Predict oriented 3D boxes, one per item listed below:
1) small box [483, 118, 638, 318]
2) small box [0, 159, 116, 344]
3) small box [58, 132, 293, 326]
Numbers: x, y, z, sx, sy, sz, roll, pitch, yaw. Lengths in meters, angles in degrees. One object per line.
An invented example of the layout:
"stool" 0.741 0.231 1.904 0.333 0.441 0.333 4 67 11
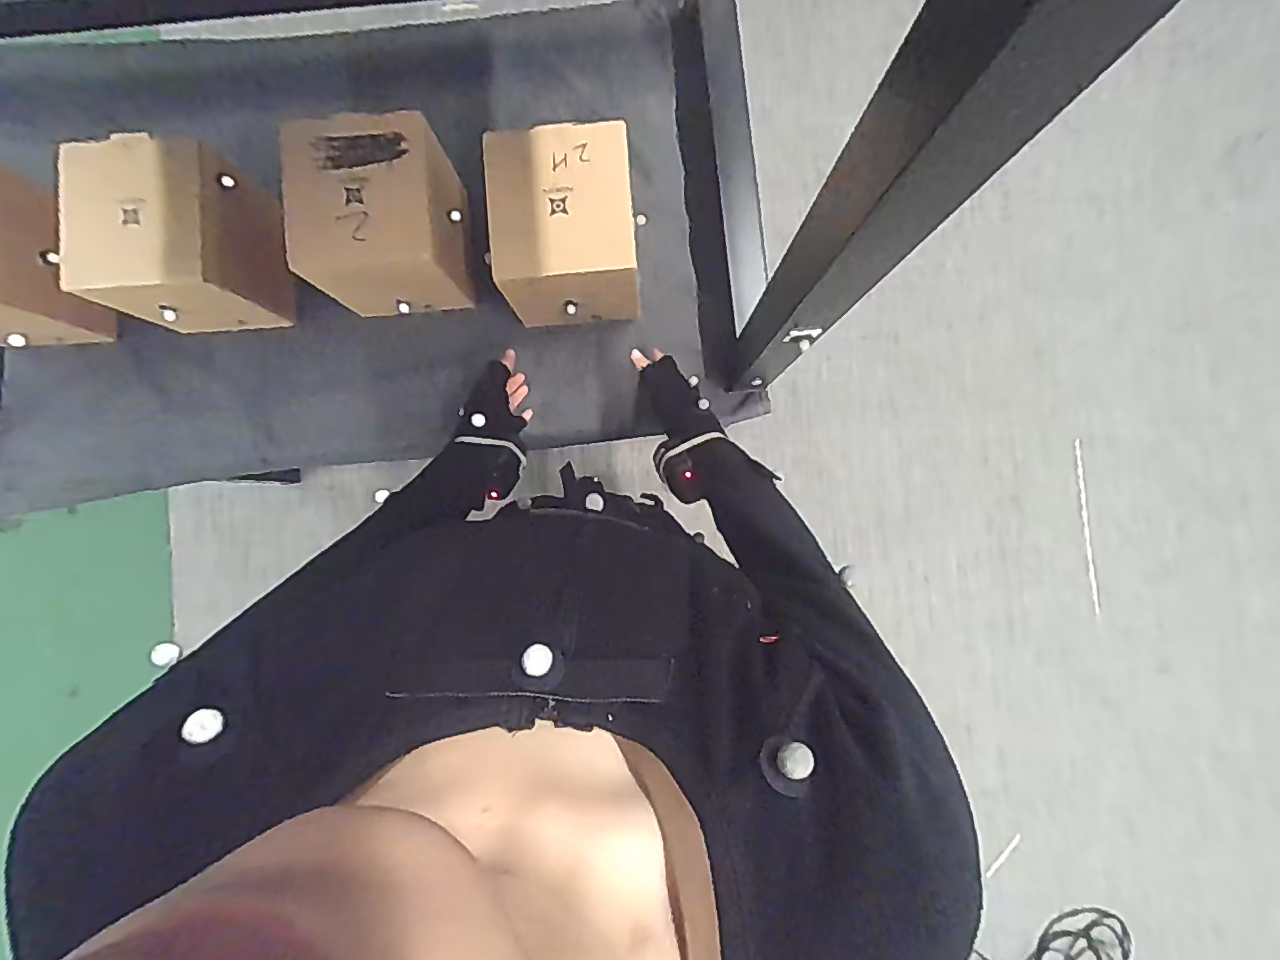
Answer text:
"small box" -0.092 -0.319 0.695 0.168 0.176 0.179 -5 87 0
"small box" -0.835 -0.288 0.698 0.168 0.176 0.179 -4 88 0
"small box" -0.582 -0.308 0.700 0.168 0.176 0.179 -4 88 0
